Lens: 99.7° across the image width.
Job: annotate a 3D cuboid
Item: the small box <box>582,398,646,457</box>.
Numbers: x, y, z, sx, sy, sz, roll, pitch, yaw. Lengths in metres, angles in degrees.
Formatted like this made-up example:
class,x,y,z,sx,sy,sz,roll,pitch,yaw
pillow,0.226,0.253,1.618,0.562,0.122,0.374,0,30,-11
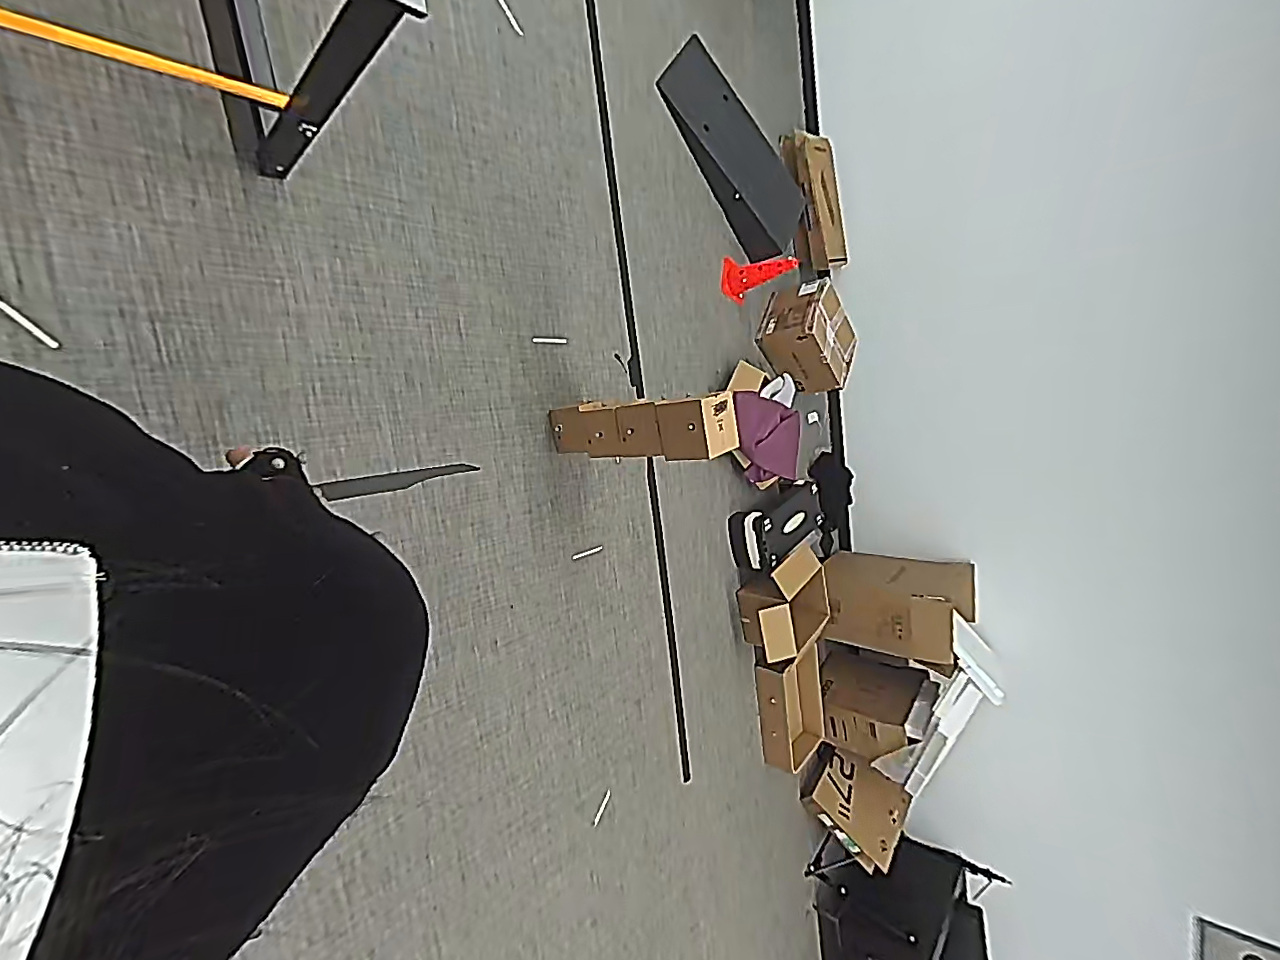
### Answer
class,x,y,z,sx,sy,sz,roll,pitch,yaw
small box,-0.080,-0.177,1.842,0.179,0.176,0.168,-24,107,-44

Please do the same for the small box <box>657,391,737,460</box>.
class,x,y,z,sx,sy,sz,roll,pitch,yaw
small box,0.168,-0.162,1.625,0.168,0.176,0.179,-22,107,-45

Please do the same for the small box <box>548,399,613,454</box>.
class,x,y,z,sx,sy,sz,roll,pitch,yaw
small box,-0.203,-0.194,1.951,0.179,0.176,0.168,-23,106,-44

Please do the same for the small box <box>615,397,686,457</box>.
class,x,y,z,sx,sy,sz,roll,pitch,yaw
small box,0.046,-0.170,1.734,0.179,0.176,0.168,-18,102,-46
